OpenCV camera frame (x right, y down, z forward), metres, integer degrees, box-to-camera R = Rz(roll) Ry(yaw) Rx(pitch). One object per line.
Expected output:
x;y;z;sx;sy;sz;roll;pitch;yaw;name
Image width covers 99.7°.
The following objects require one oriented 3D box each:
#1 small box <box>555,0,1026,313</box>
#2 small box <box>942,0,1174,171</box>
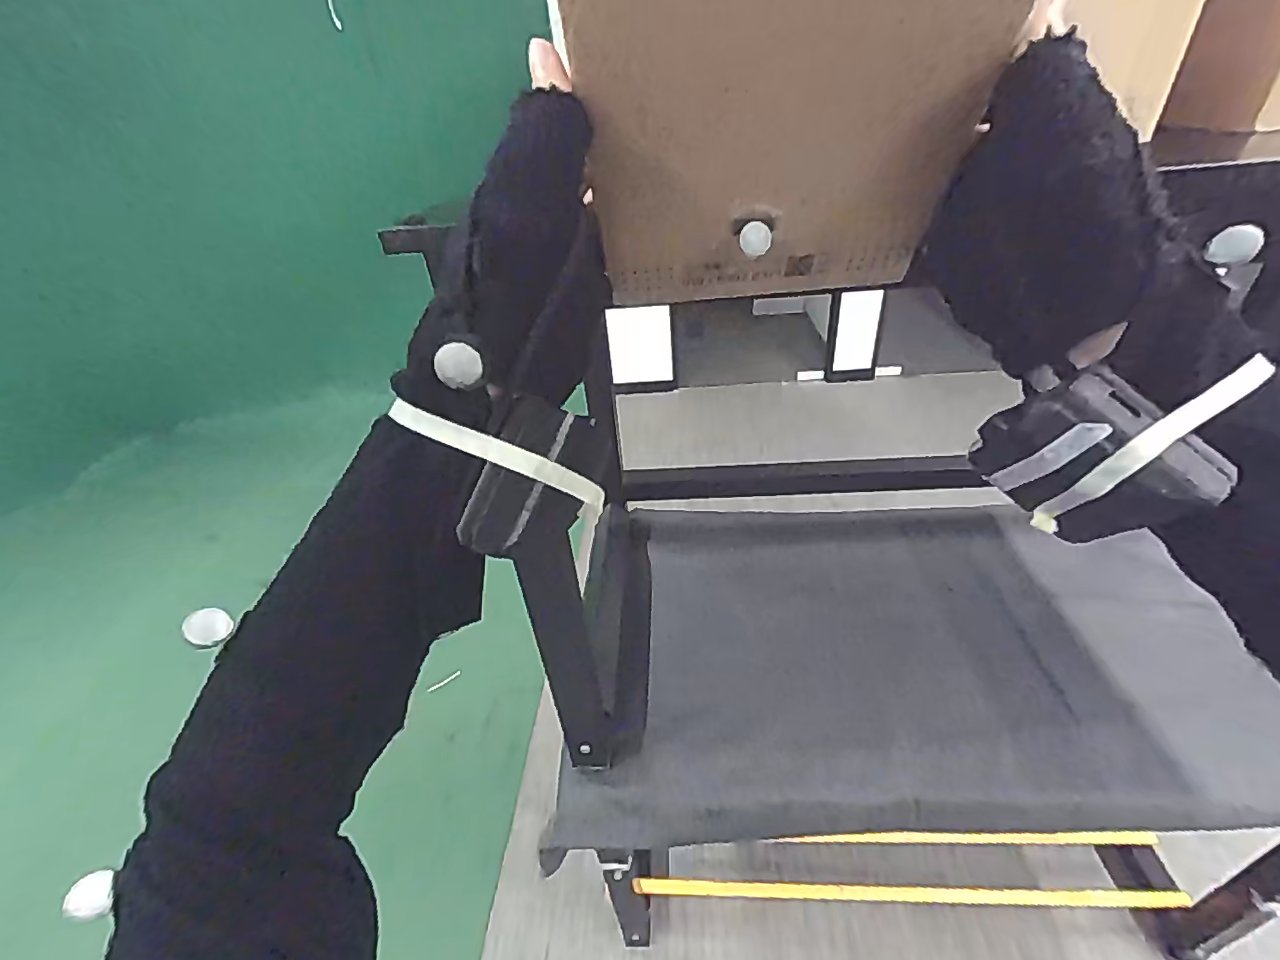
0.055;-0.214;0.280;0.168;0.176;0.179;-4;67;4;small box
0.293;-0.356;0.447;0.168;0.176;0.179;-2;34;5;small box
